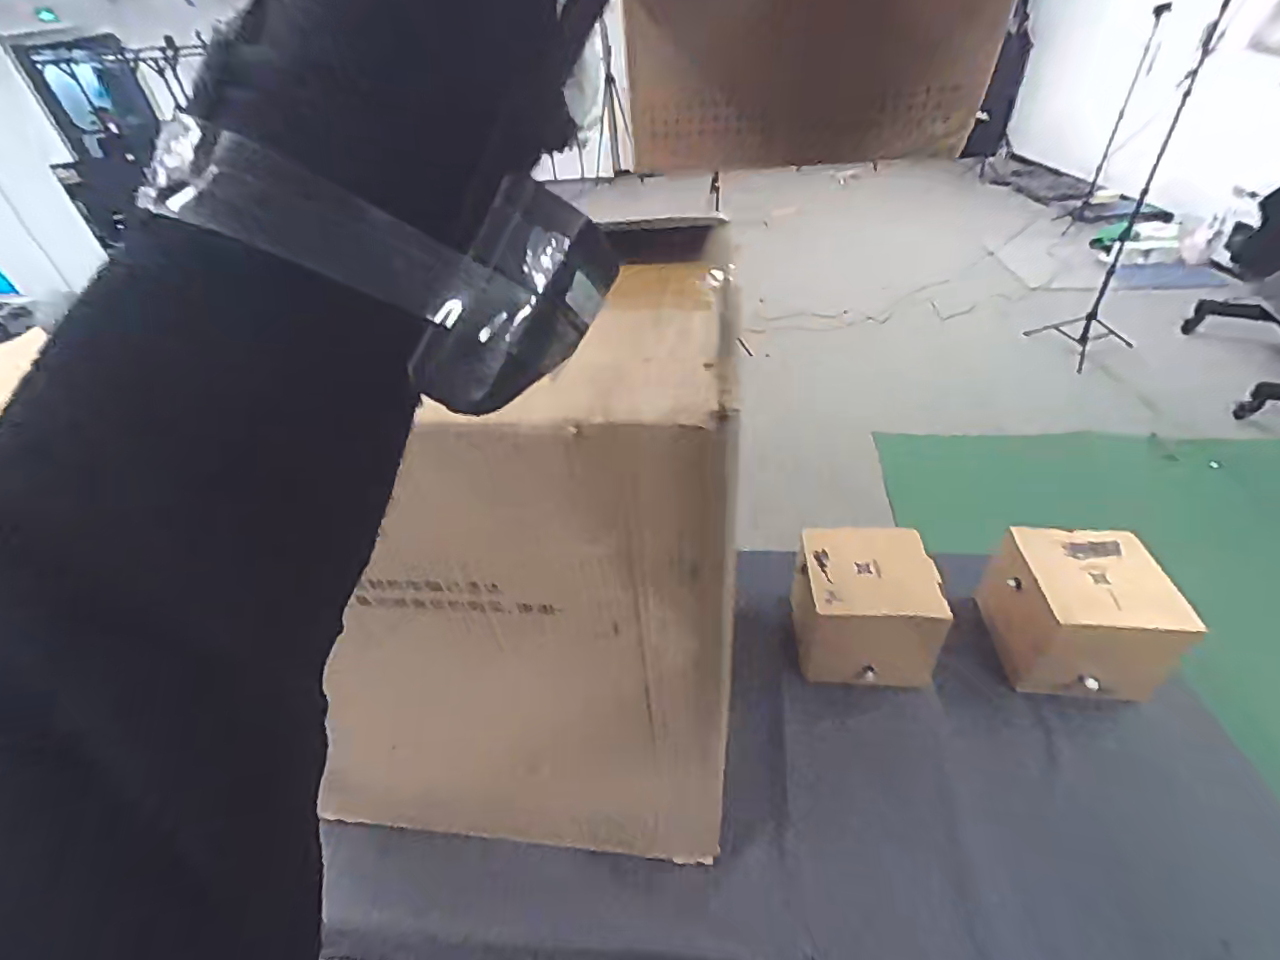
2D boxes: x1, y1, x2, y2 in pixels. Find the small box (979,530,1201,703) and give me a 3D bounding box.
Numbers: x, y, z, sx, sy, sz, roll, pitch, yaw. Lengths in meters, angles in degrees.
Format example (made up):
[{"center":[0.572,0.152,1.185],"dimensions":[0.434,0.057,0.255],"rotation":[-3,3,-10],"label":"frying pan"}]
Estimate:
[{"center":[0.631,0.196,0.792],"dimensions":[0.168,0.176,0.179],"rotation":[2,39,10],"label":"small box"}]
